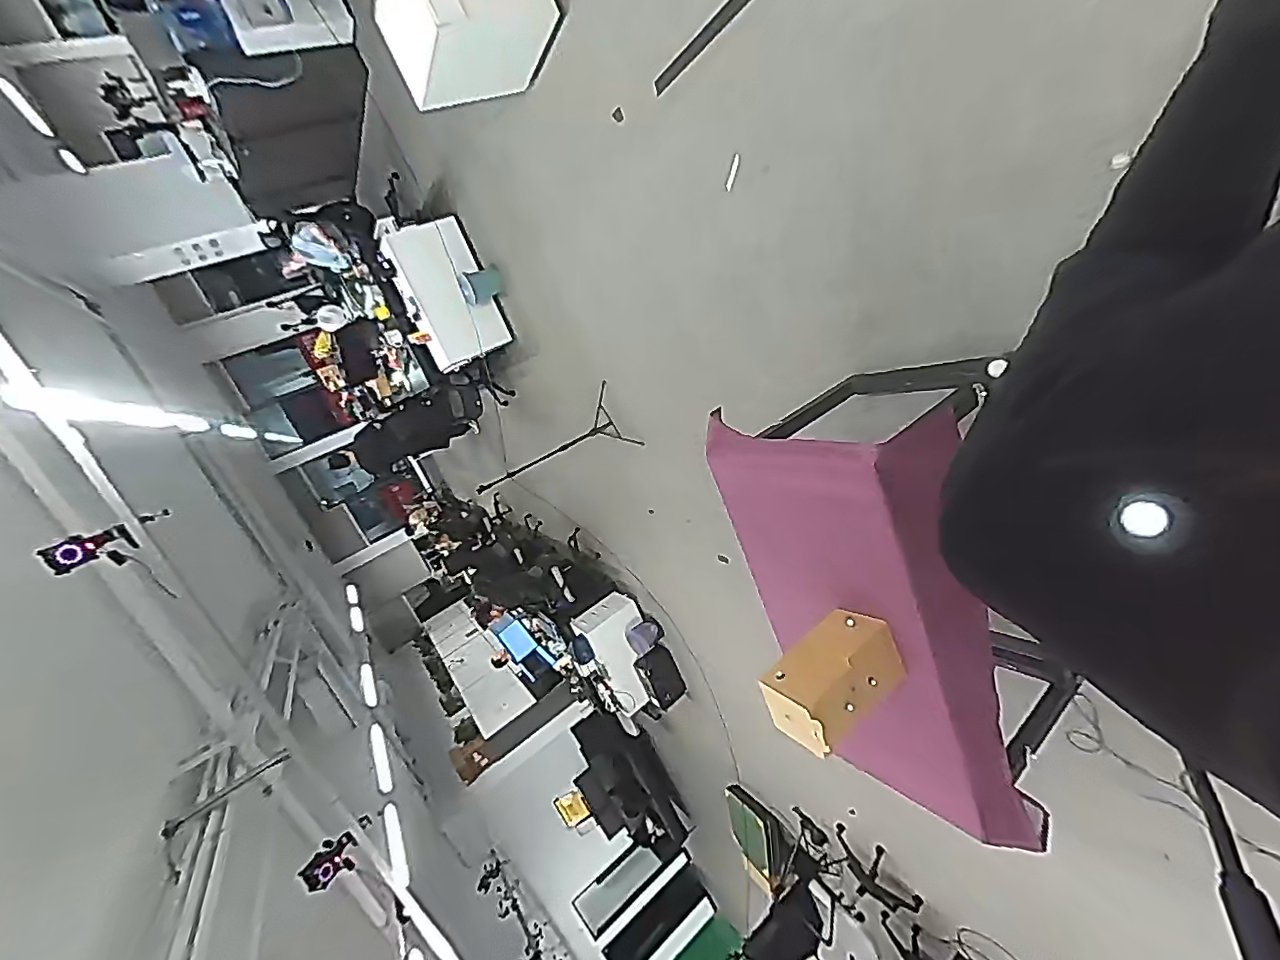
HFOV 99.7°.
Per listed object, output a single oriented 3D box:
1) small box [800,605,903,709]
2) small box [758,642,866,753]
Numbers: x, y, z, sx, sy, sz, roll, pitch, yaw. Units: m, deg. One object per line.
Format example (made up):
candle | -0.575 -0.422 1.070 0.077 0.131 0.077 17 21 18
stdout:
small box | 0.569 0.465 1.447 0.168 0.176 0.179 0 117 62
small box | 0.440 0.544 1.382 0.179 0.176 0.168 10 127 59
